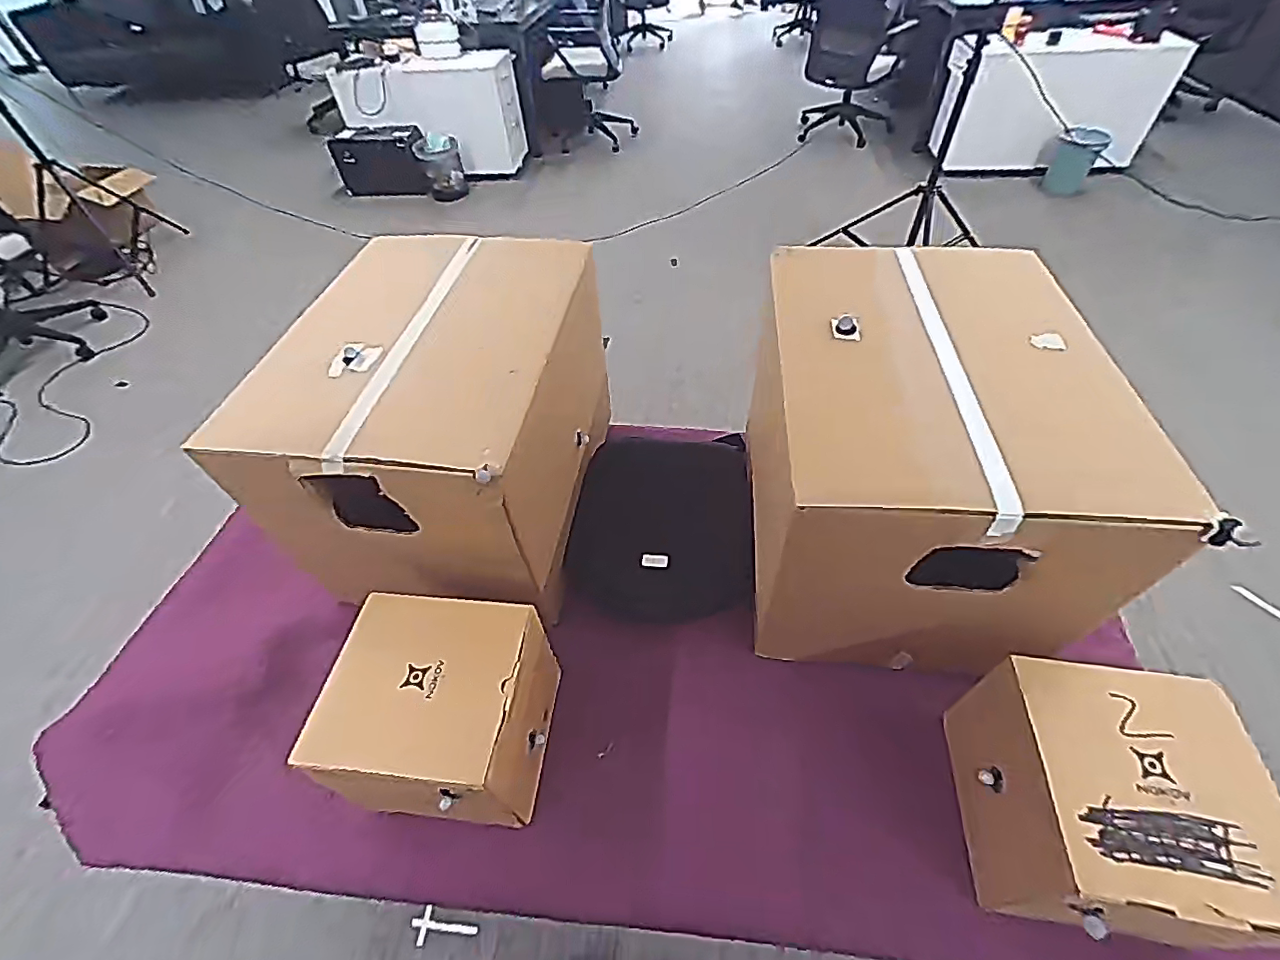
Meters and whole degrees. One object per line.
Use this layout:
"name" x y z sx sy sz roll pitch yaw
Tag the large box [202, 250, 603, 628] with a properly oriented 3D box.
"large box" -0.239 -0.060 0.732 0.320 0.320 0.408 4 52 7
